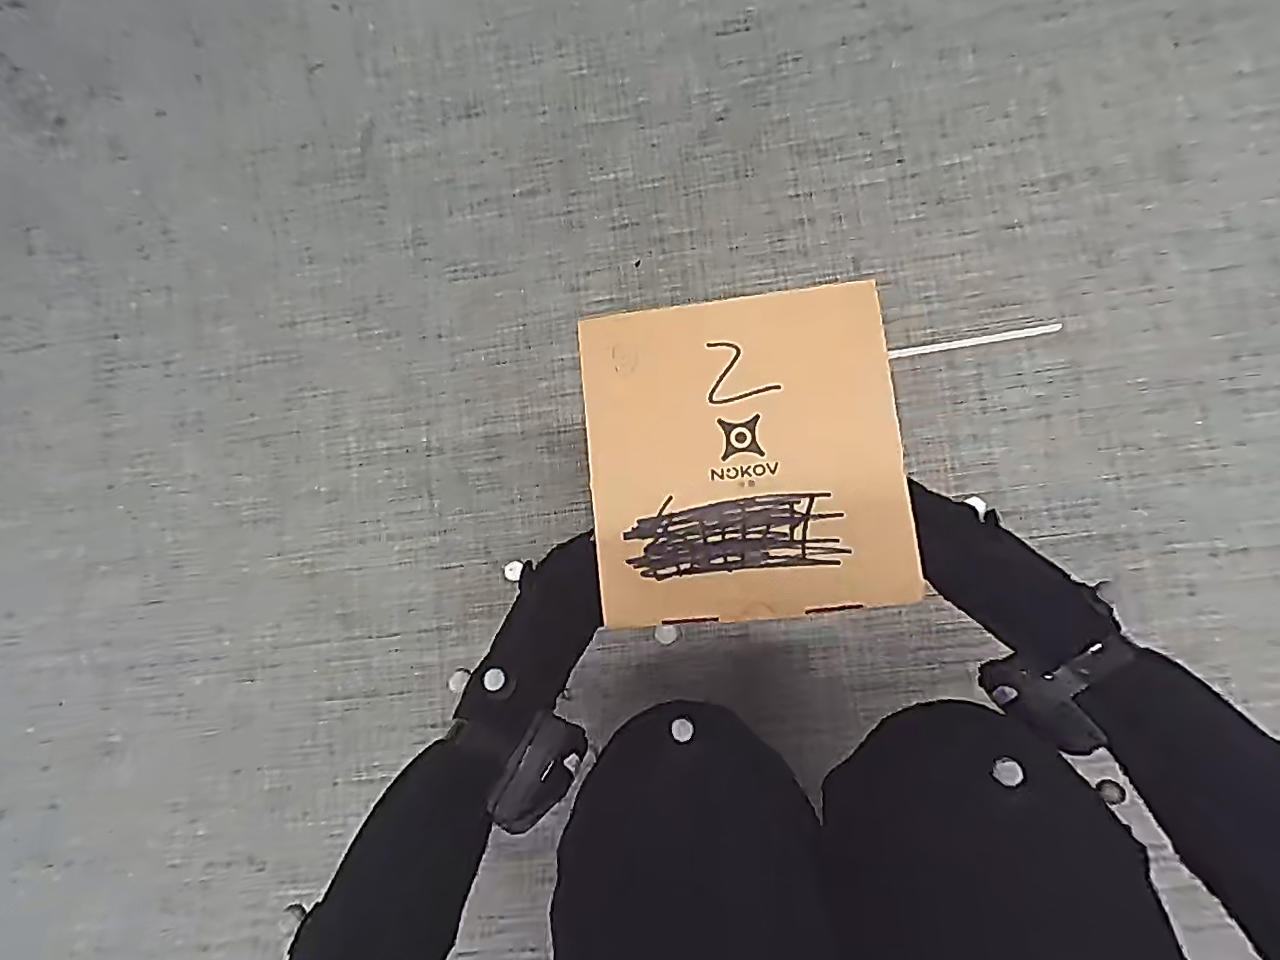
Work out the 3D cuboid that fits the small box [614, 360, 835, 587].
[{"bbox_3d":[0.075,0.003,0.533,0.168,0.176,0.179,-9,83,6],"label":"small box"}]
